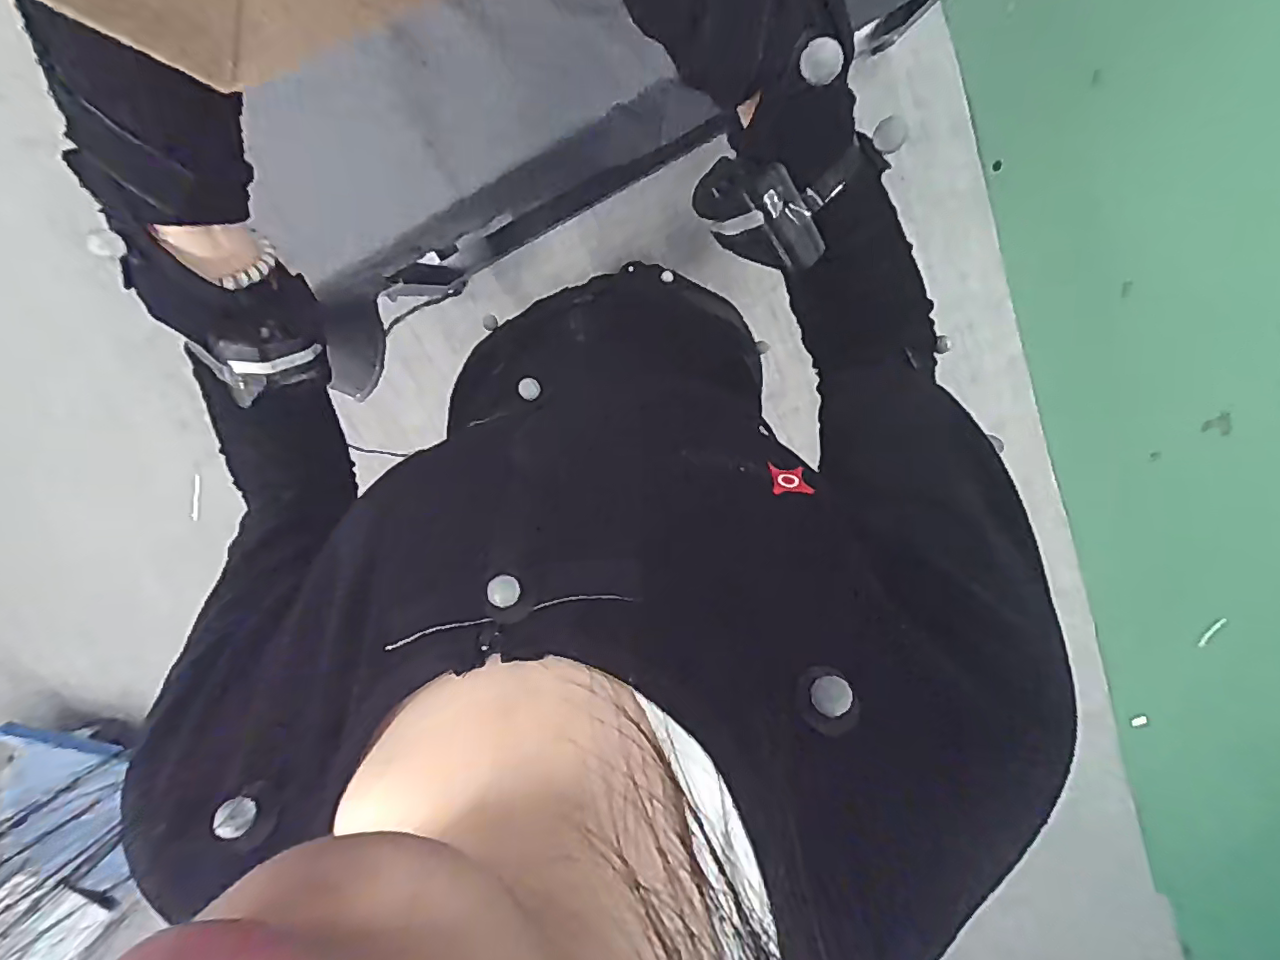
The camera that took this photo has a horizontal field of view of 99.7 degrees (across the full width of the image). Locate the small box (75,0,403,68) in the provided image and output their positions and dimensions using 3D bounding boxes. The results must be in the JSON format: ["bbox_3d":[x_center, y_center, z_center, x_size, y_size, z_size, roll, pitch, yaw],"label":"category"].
[{"bbox_3d":[-0.139,-0.259,0.157,0.168,0.179,0.176,-27,119,0],"label":"small box"}]
